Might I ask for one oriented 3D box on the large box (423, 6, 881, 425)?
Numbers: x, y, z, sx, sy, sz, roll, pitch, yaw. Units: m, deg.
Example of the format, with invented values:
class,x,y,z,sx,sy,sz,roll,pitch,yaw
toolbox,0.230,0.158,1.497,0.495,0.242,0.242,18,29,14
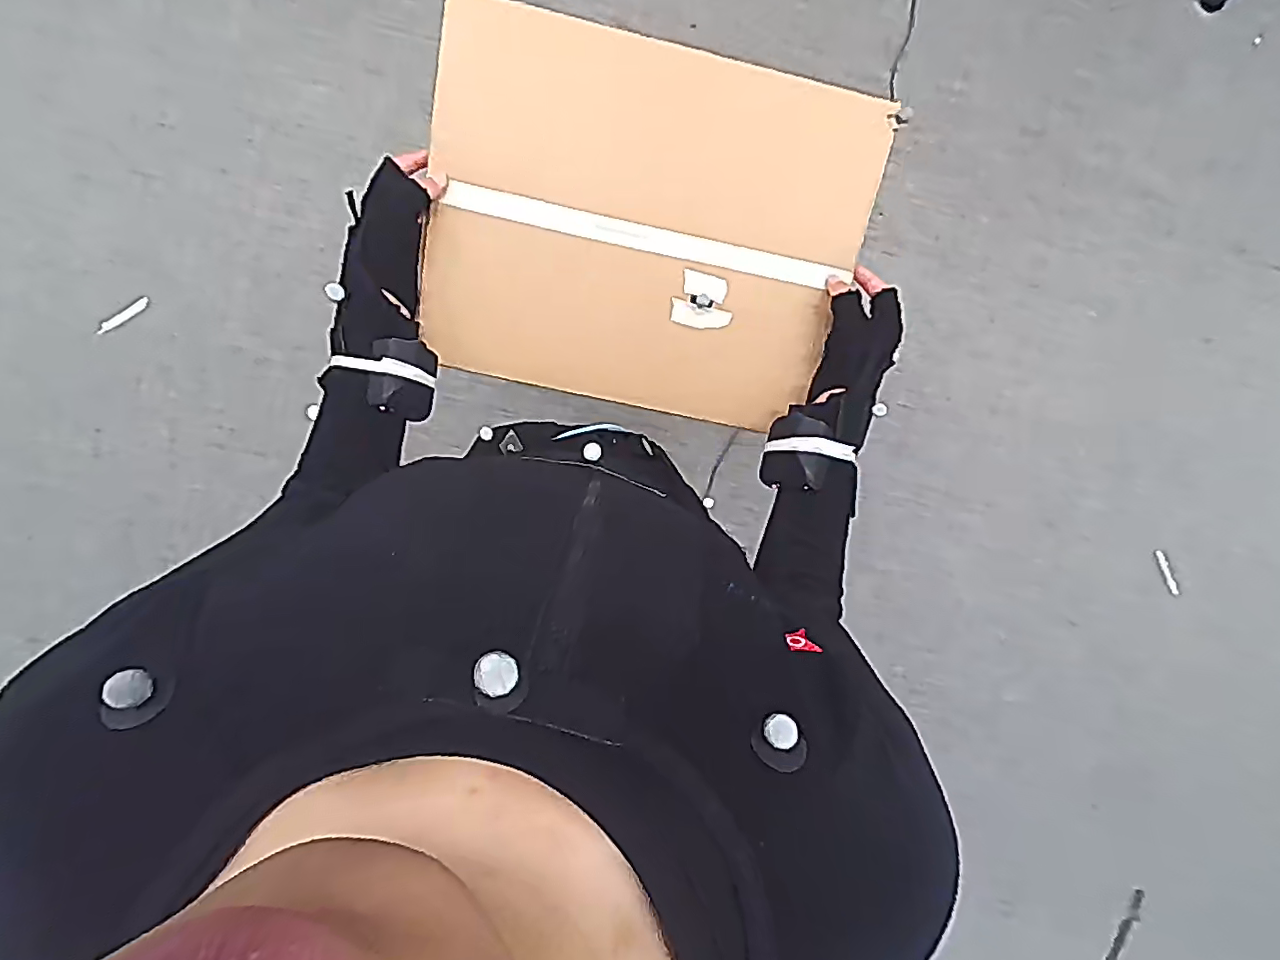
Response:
class,x,y,z,sx,sy,sz,roll,pitch,yaw
large box,-0.005,-0.274,0.665,0.408,0.320,0.320,11,106,-5
